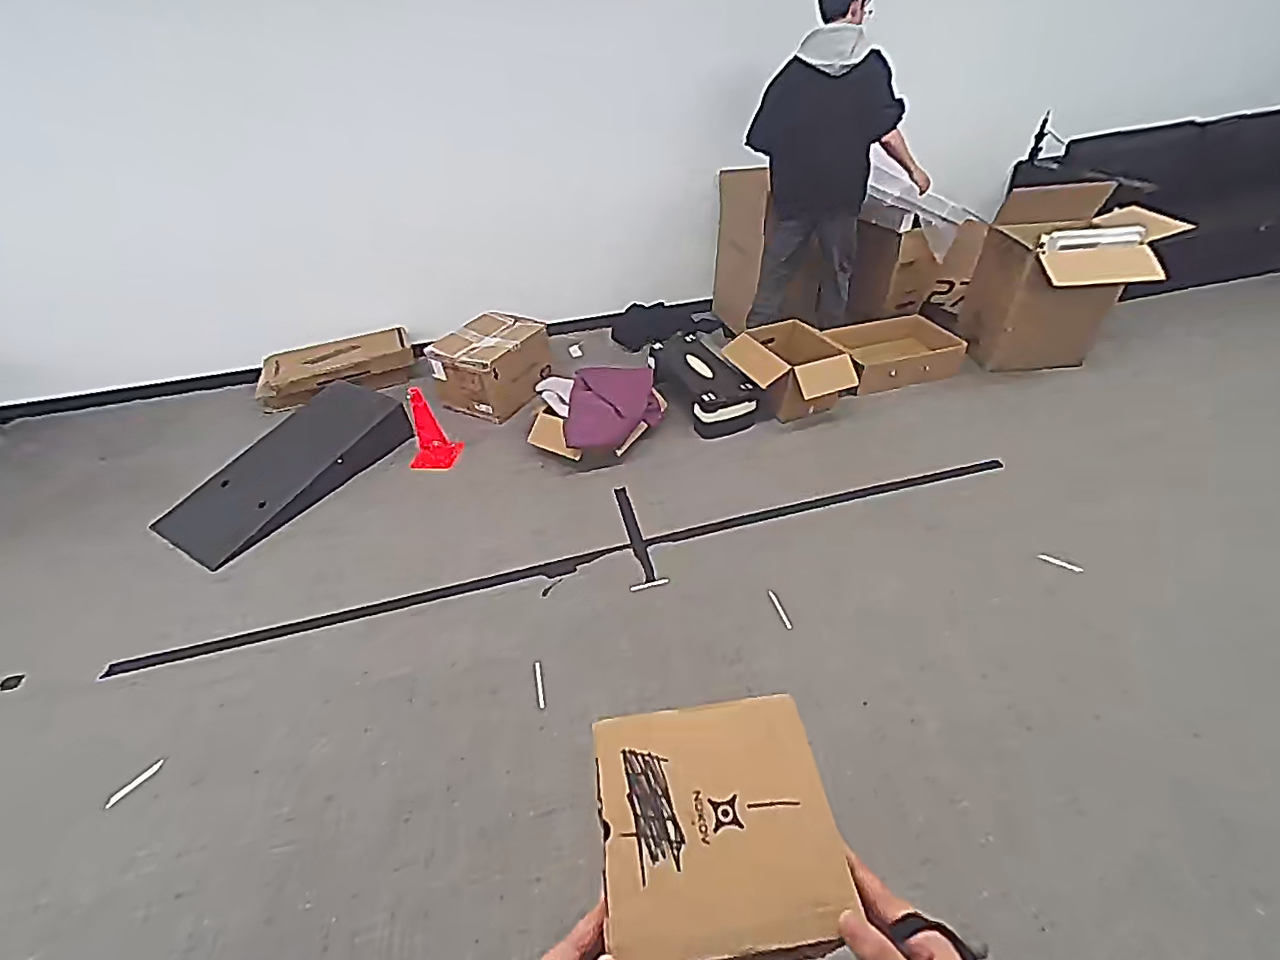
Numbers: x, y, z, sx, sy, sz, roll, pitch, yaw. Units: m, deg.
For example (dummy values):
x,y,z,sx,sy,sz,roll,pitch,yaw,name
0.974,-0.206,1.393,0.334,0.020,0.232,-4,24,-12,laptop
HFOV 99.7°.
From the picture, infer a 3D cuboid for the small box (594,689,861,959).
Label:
x,y,z,sx,sy,sz,roll,pitch,yaw,name
0.060,0.307,0.470,0.179,0.176,0.168,-7,45,-3,small box
